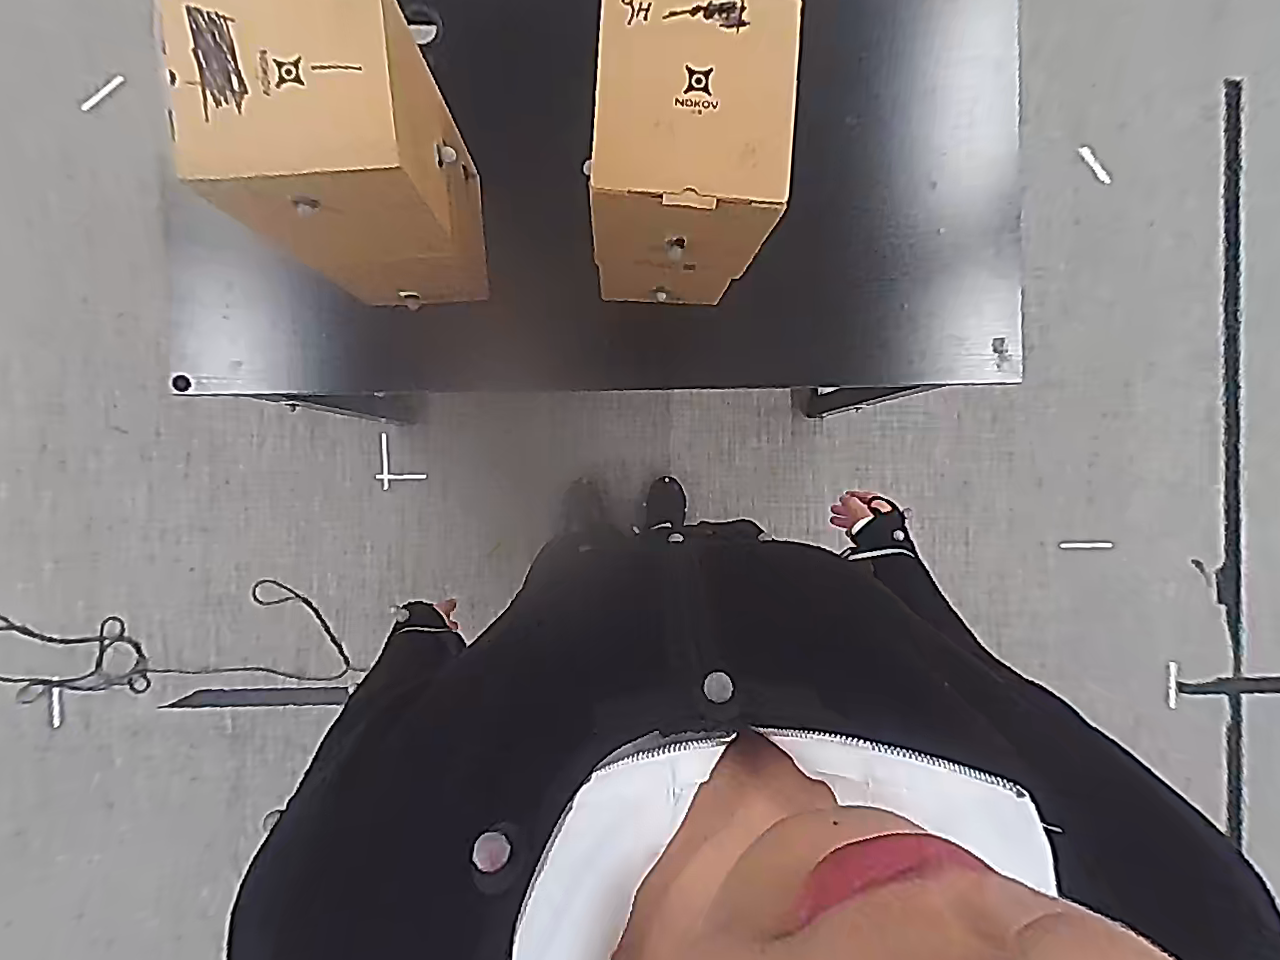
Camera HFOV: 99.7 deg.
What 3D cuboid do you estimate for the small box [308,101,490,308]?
[{"bbox_3d":[-0.293,-0.329,0.673,0.168,0.176,0.179,-5,92,-2],"label":"small box"}]

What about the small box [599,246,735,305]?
[{"bbox_3d":[0.033,-0.339,0.687,0.168,0.176,0.179,2,91,-3],"label":"small box"}]

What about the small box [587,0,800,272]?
[{"bbox_3d":[0.042,-0.317,0.523,0.168,0.176,0.179,4,92,-3],"label":"small box"}]

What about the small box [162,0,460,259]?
[{"bbox_3d":[-0.287,-0.323,0.509,0.179,0.176,0.168,-6,91,-3],"label":"small box"}]
